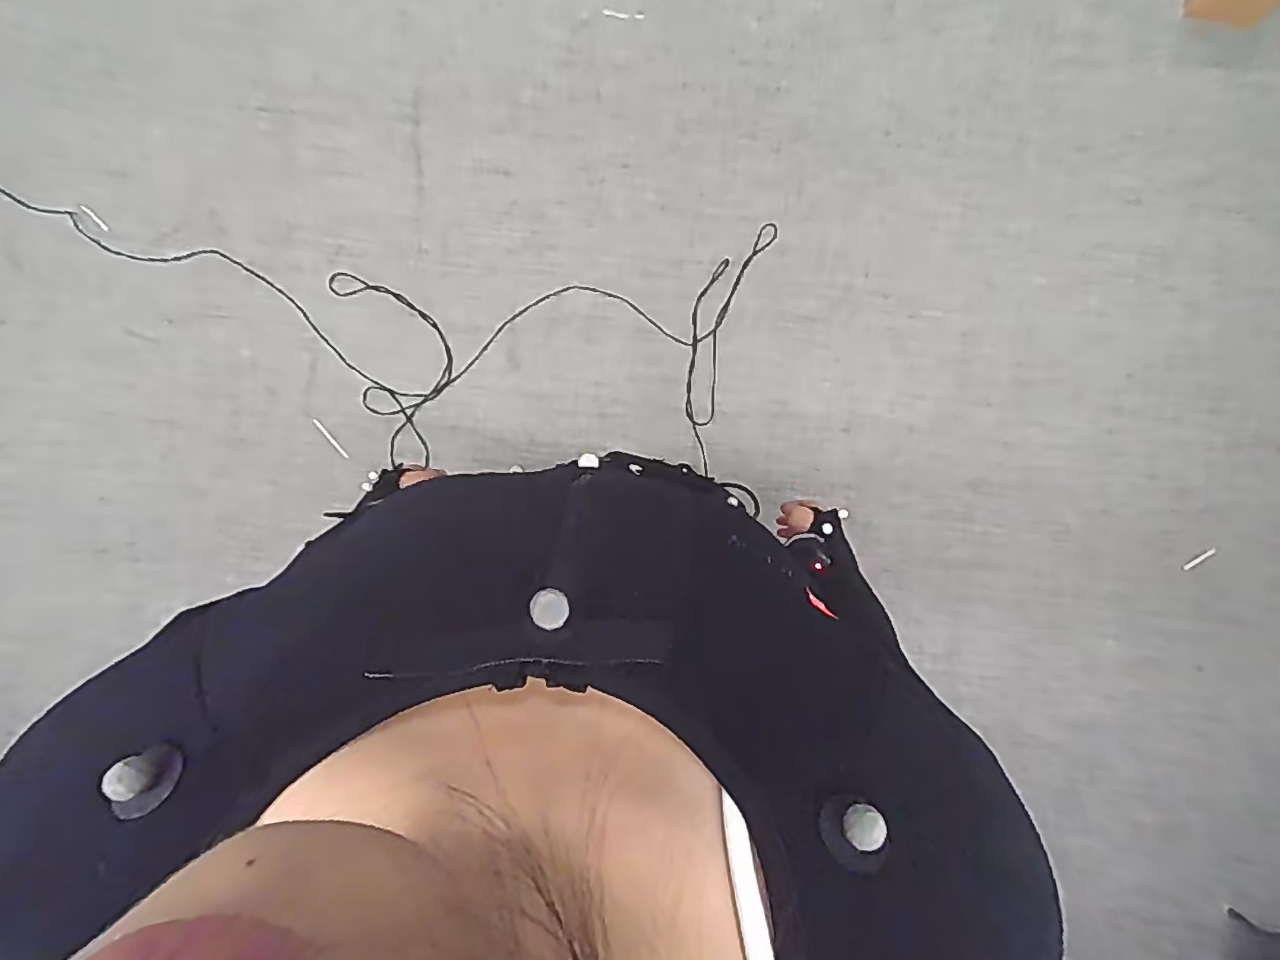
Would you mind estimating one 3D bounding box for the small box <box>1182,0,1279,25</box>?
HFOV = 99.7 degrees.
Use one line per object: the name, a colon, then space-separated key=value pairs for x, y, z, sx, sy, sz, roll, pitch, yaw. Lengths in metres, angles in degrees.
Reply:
small box: x=1.524 y=-1.283 z=1.339 sx=0.179 sy=0.176 sz=0.168 roll=11 pitch=92 yaw=0
